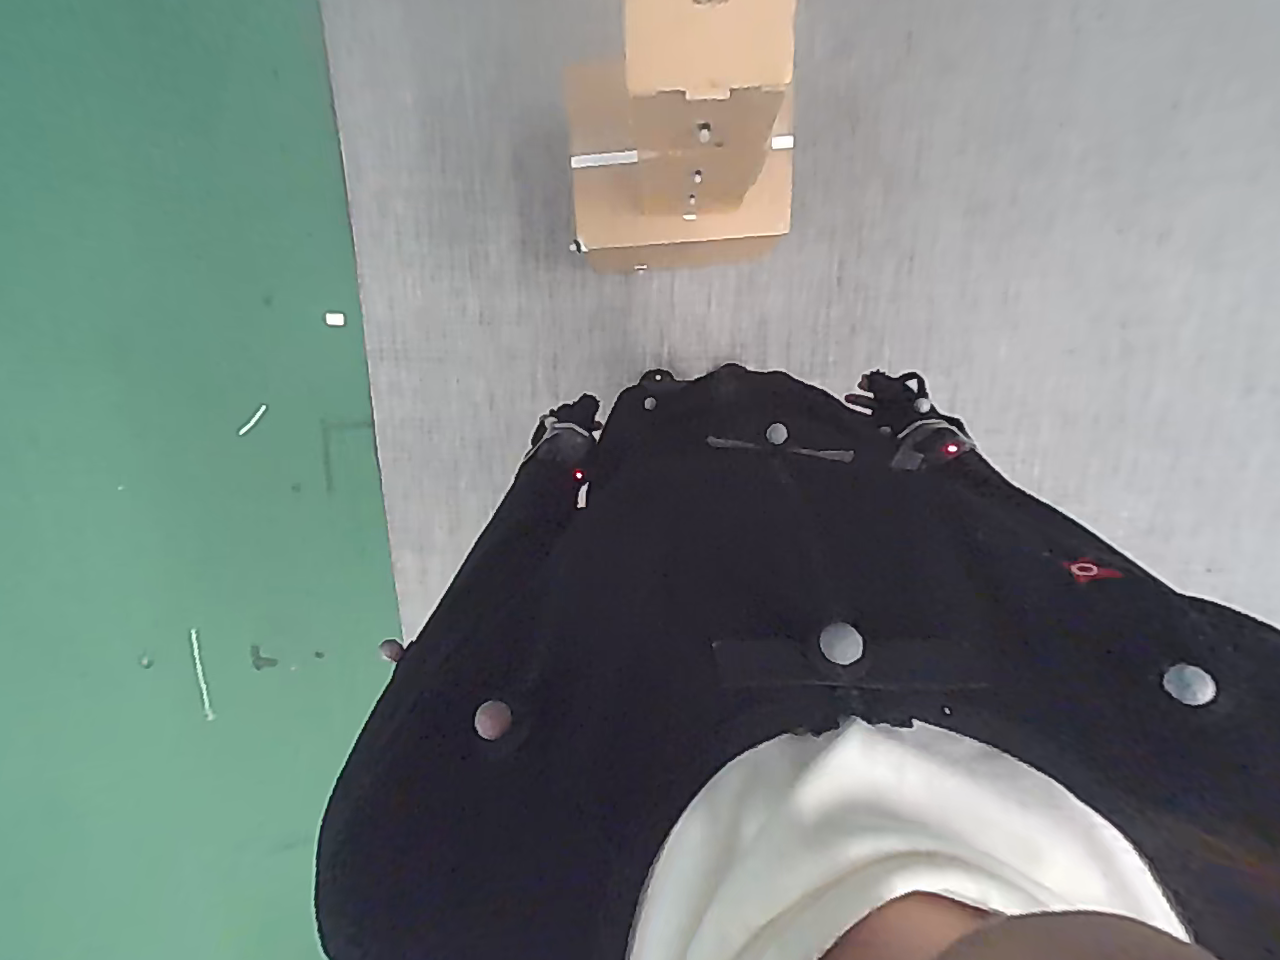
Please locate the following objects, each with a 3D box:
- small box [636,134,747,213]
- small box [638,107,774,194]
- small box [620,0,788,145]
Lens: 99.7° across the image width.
[{"bbox_3d":[0.086,-0.563,0.918,0.179,0.176,0.168,-1,104,3],"label":"small box"},{"bbox_3d":[0.082,-0.519,0.760,0.179,0.176,0.168,-5,104,4],"label":"small box"},{"bbox_3d":[0.070,-0.490,0.599,0.168,0.176,0.179,2,104,4],"label":"small box"}]
